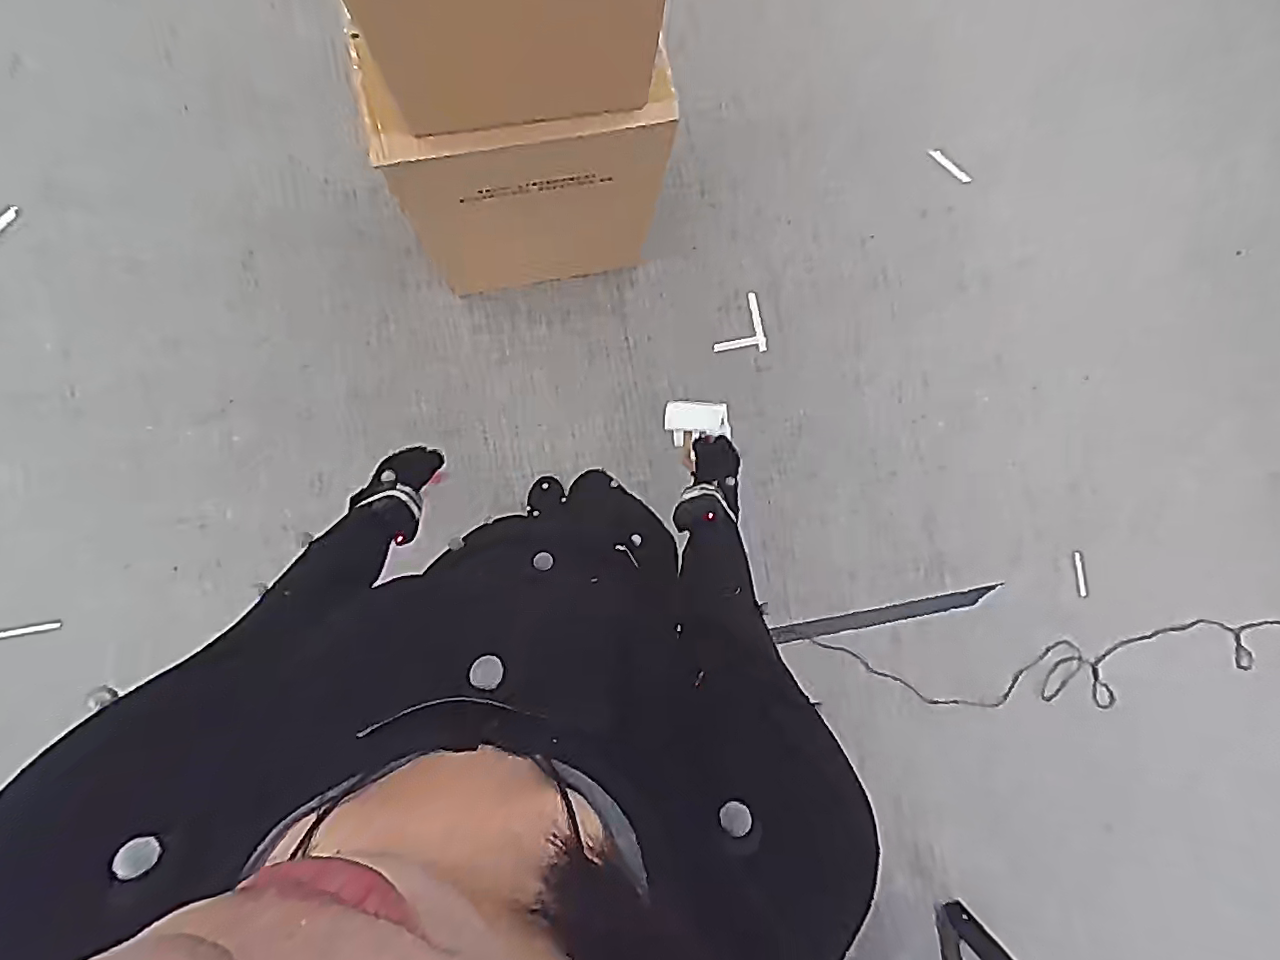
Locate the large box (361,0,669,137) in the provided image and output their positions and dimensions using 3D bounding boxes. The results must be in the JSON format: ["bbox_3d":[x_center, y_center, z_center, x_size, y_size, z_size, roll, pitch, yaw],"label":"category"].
[{"bbox_3d":[-0.190,-0.757,0.768,0.408,0.320,0.320,-13,91,-7],"label":"large box"}]
